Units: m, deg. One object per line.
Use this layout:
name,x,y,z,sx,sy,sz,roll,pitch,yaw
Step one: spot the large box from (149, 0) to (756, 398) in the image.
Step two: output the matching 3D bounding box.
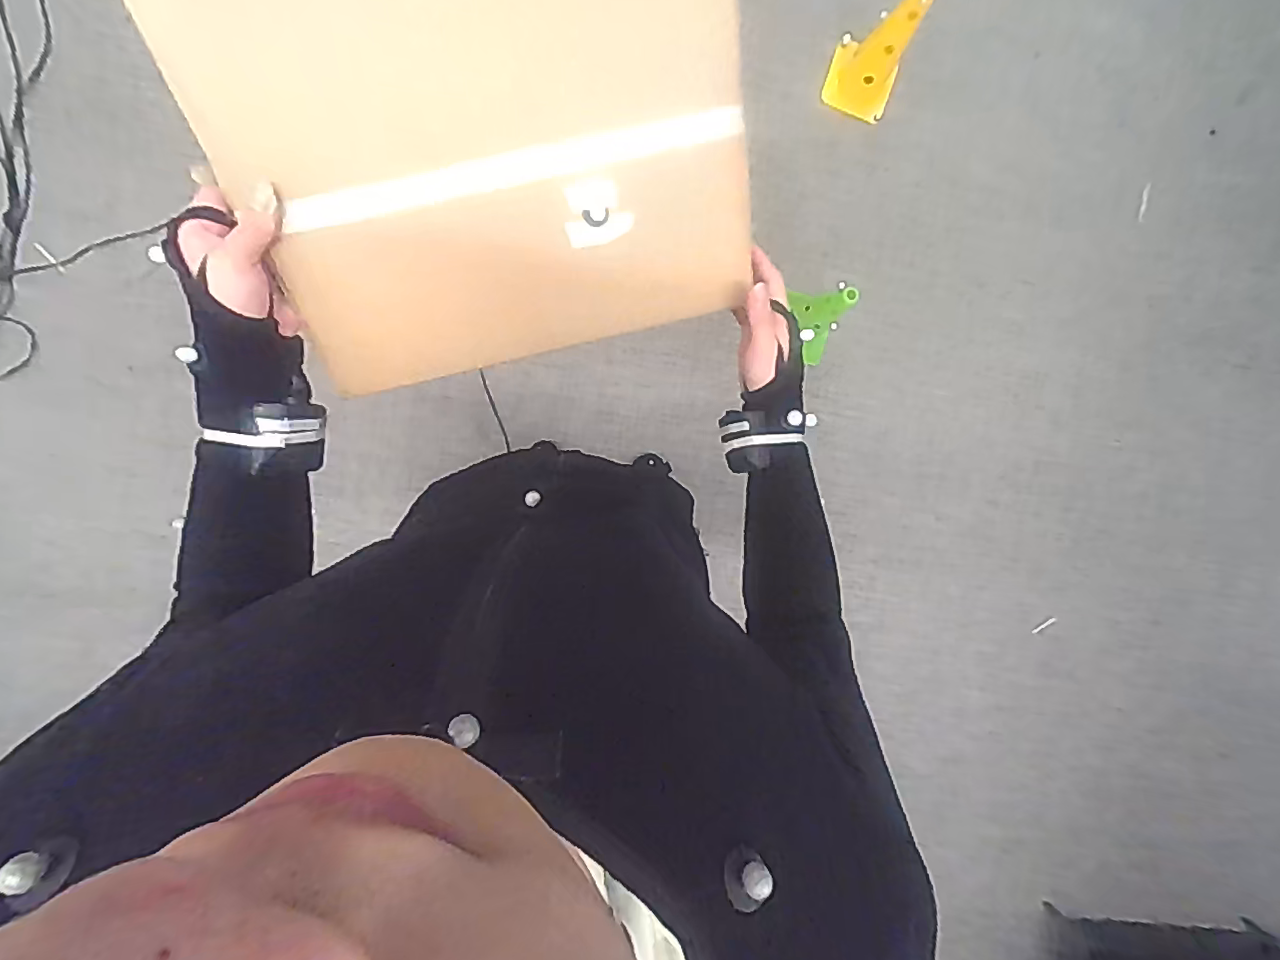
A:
large box,-0.132,-0.327,0.561,0.408,0.320,0.320,-14,126,-4

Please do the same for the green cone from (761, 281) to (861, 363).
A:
green cone,0.504,-0.468,1.493,0.200,0.368,0.202,15,91,-7
